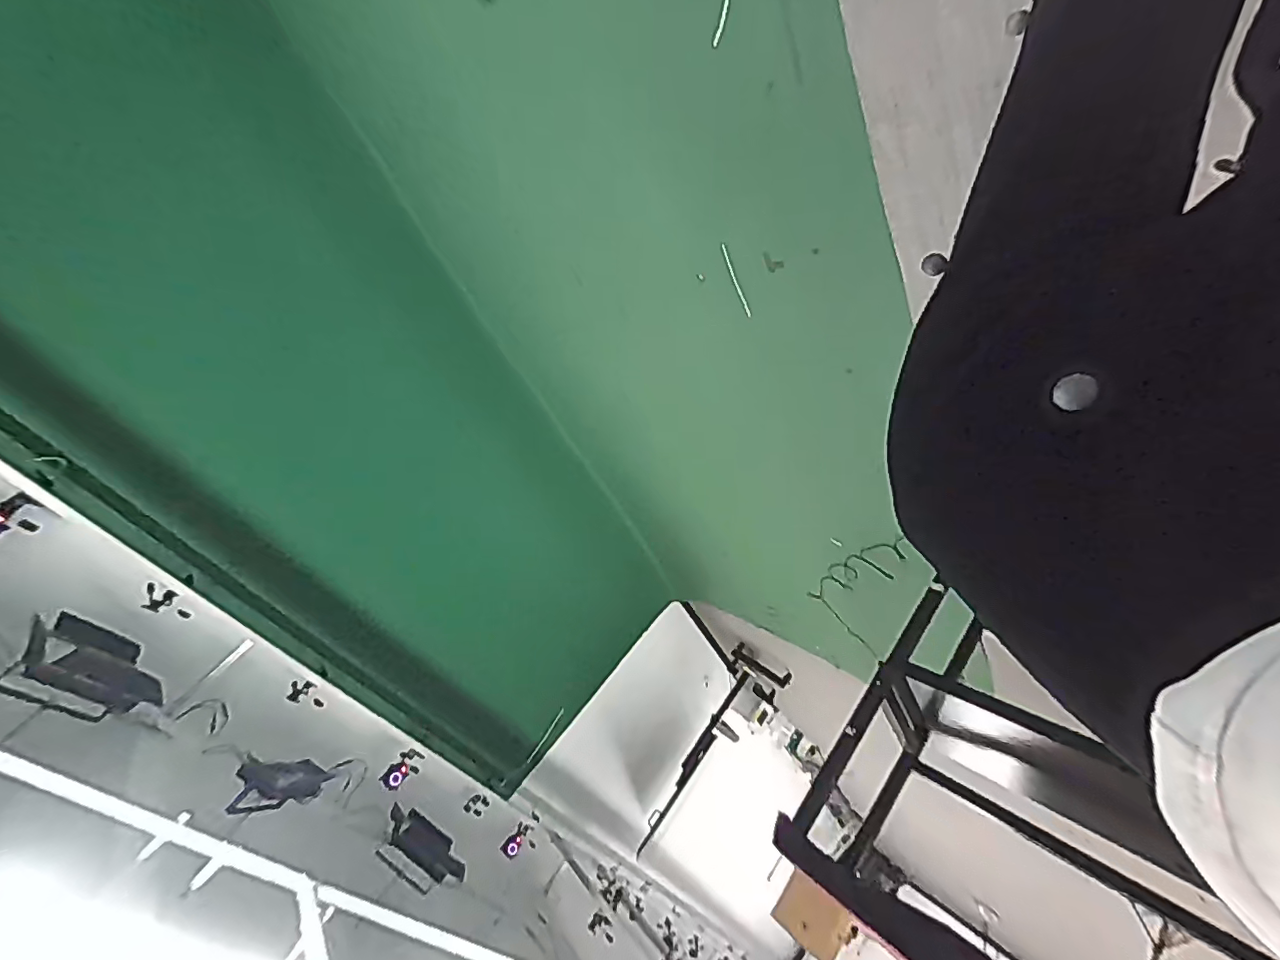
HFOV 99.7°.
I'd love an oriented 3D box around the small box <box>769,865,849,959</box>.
[{"bbox_3d":[0.541,1.371,1.706,0.179,0.176,0.168,18,147,46],"label":"small box"}]
